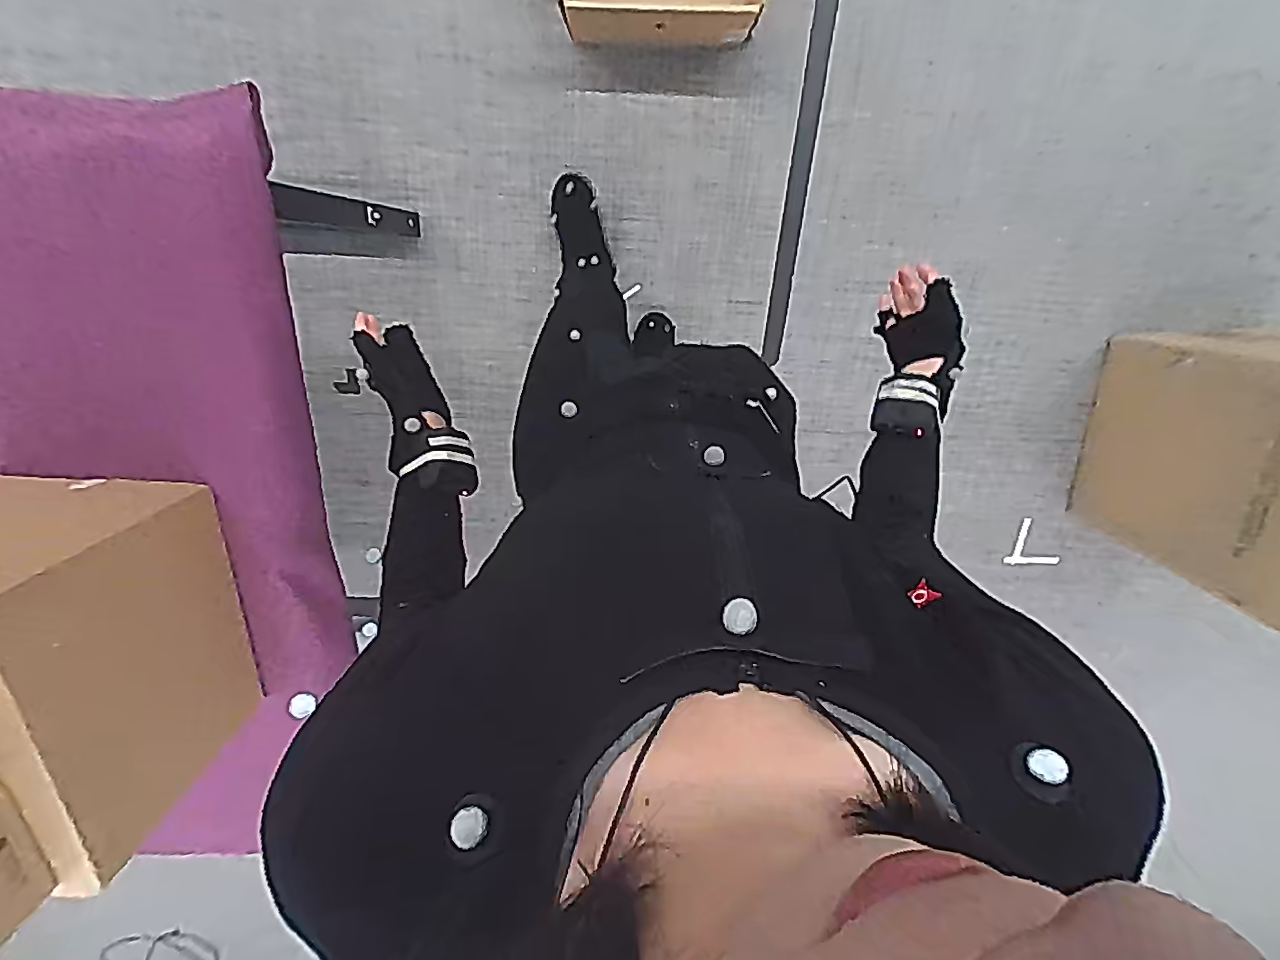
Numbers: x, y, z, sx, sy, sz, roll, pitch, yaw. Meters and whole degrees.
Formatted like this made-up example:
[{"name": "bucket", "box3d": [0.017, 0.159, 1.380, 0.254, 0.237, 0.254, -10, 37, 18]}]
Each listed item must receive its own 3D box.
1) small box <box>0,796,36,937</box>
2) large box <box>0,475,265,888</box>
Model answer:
[{"name": "small box", "box3d": [-0.746, 0.414, 0.509, 0.179, 0.176, 0.168, 1, 109, 0]}, {"name": "large box", "box3d": [-0.771, 0.234, 0.700, 0.320, 0.320, 0.408, 1, 111, -2]}]
